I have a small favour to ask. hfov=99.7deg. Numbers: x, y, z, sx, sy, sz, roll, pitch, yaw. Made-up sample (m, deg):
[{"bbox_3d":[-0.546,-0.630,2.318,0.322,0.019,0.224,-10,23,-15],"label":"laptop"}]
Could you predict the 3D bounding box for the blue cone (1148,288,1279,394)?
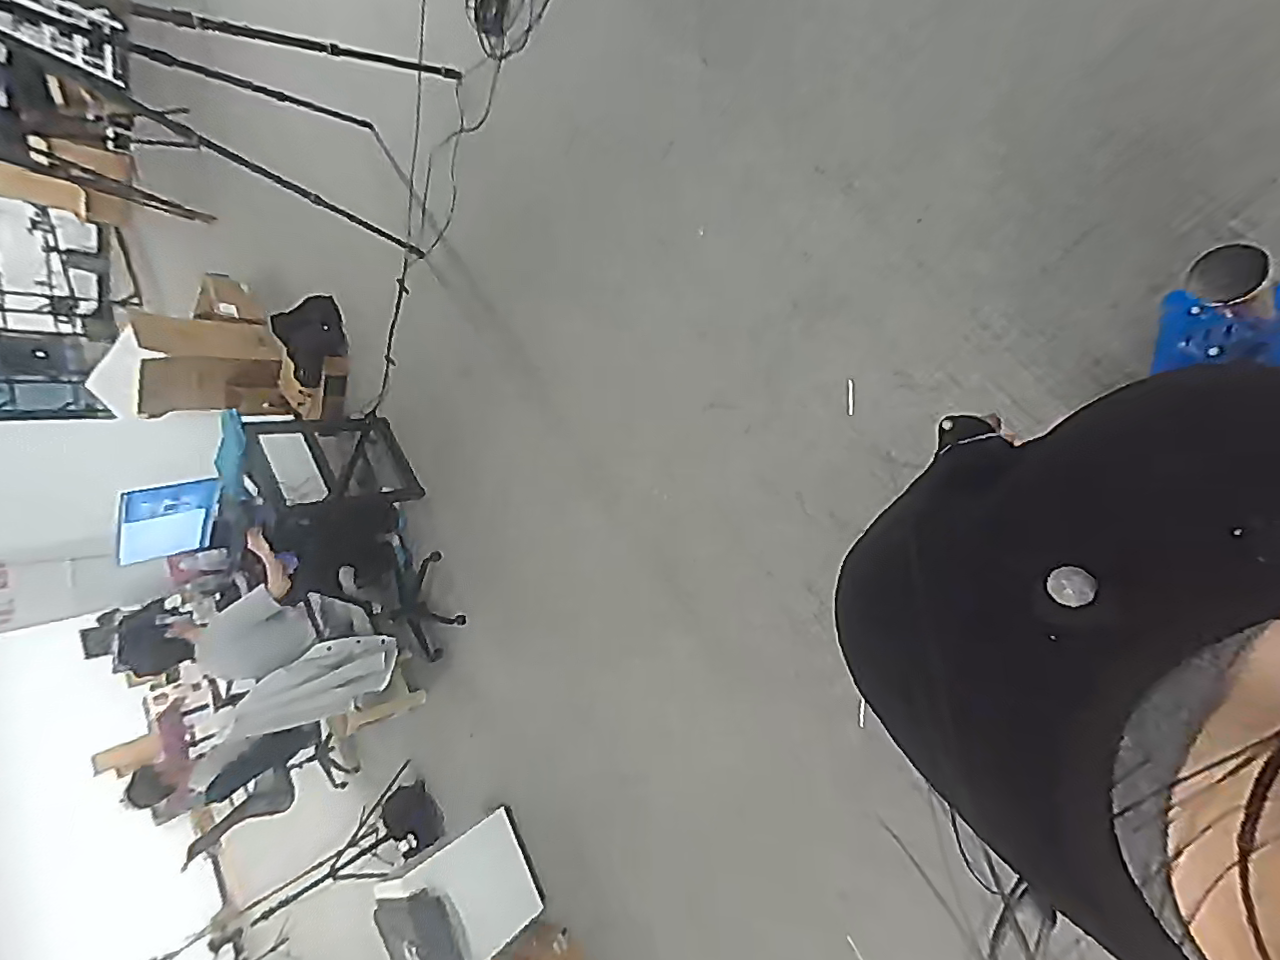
[{"bbox_3d":[0.991,-0.238,0.904,0.193,0.380,0.192,9,104,40],"label":"blue cone"}]
